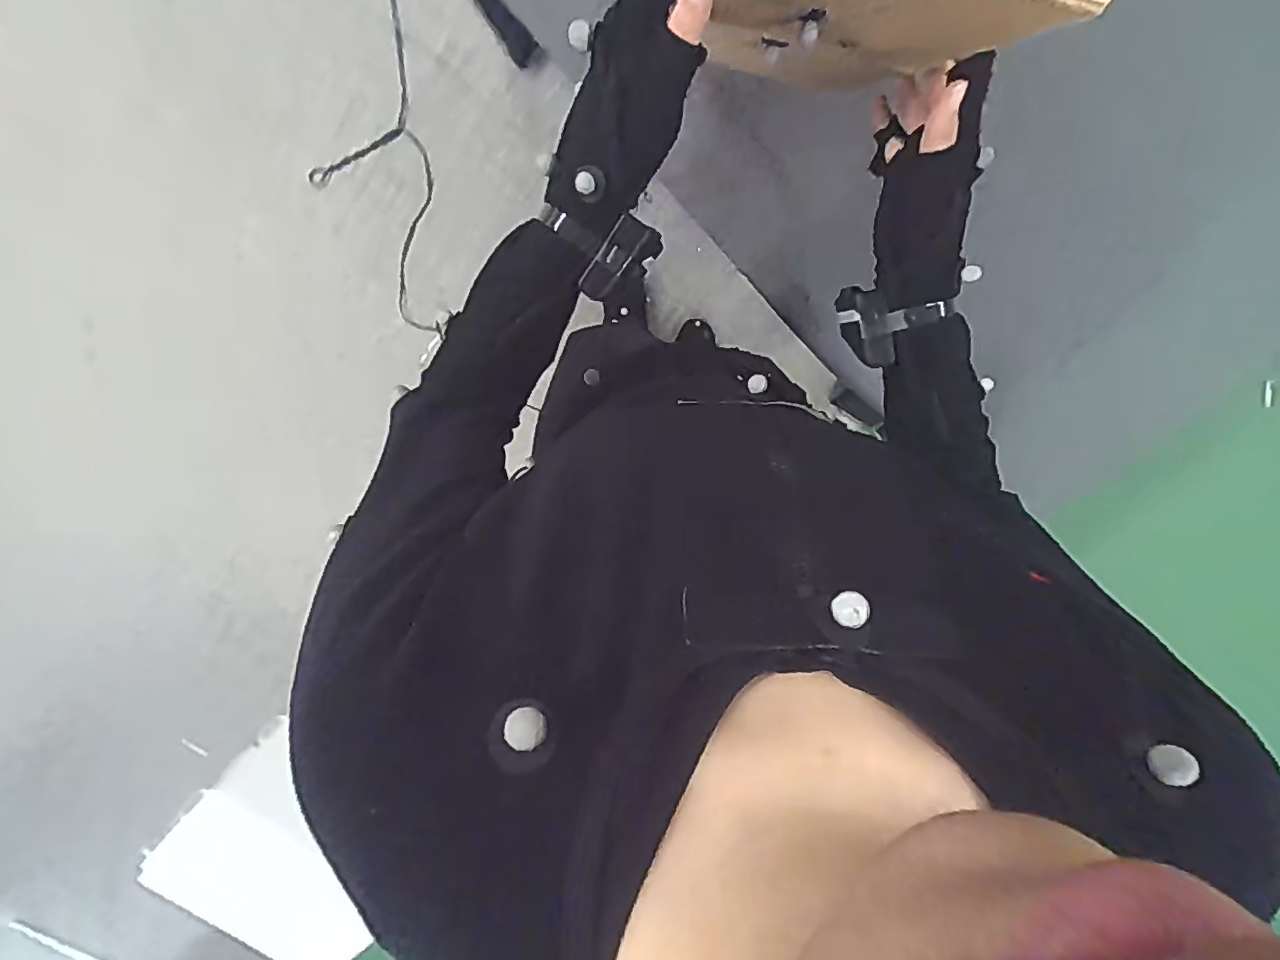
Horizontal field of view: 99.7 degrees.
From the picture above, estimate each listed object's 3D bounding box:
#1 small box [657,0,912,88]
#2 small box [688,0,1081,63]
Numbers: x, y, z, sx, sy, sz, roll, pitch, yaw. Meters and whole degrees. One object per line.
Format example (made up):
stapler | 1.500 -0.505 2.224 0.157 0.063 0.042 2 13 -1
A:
small box | 0.115 -0.407 0.391 0.179 0.176 0.168 7 119 -9
small box | 0.120 -0.328 0.249 0.168 0.176 0.179 6 120 -8
